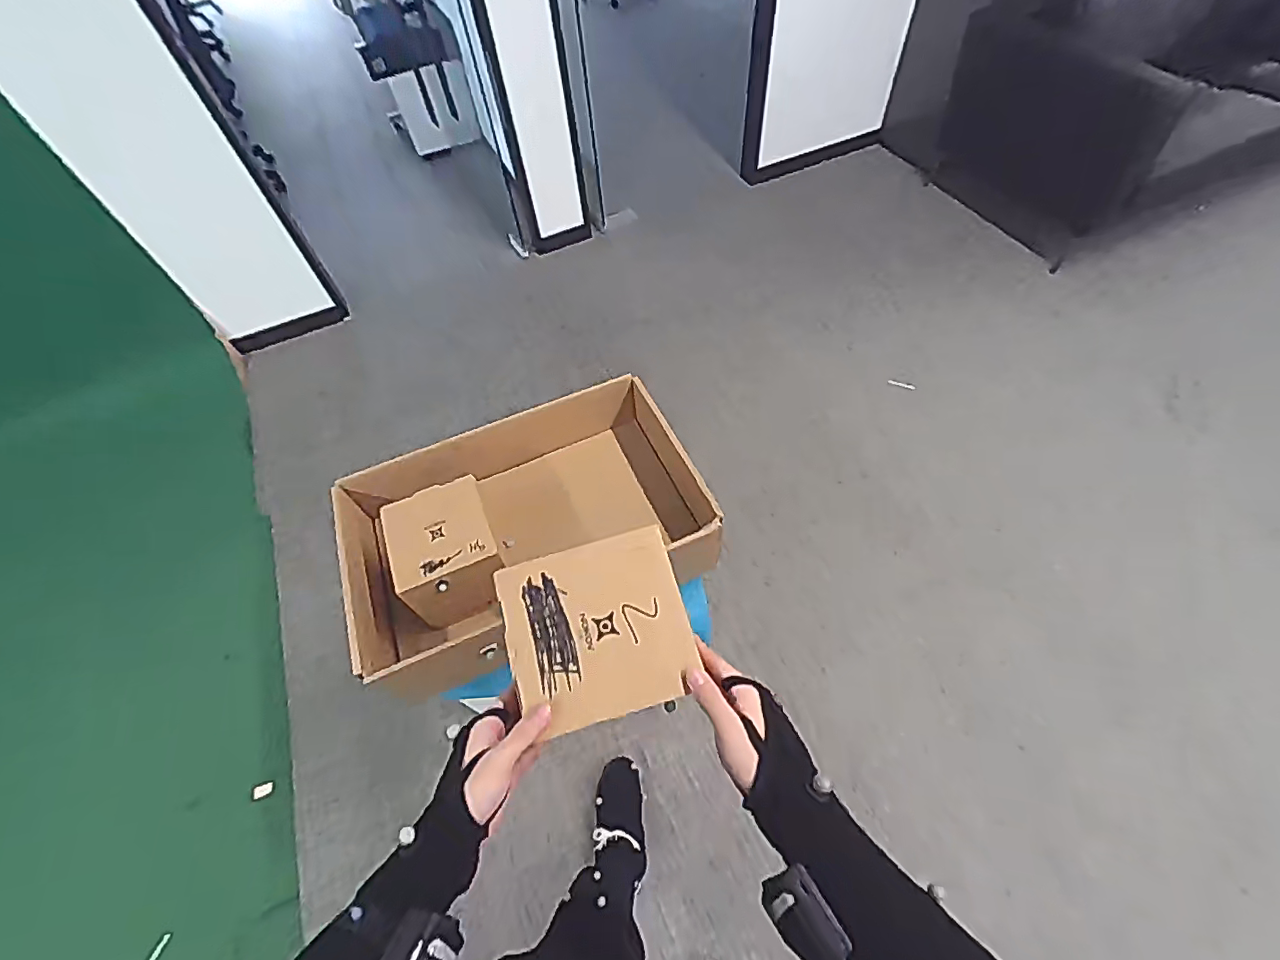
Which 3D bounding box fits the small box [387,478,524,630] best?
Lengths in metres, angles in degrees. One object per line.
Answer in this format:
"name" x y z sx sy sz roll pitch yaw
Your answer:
"small box" -0.322 0.133 0.956 0.168 0.176 0.179 -22 56 -10
